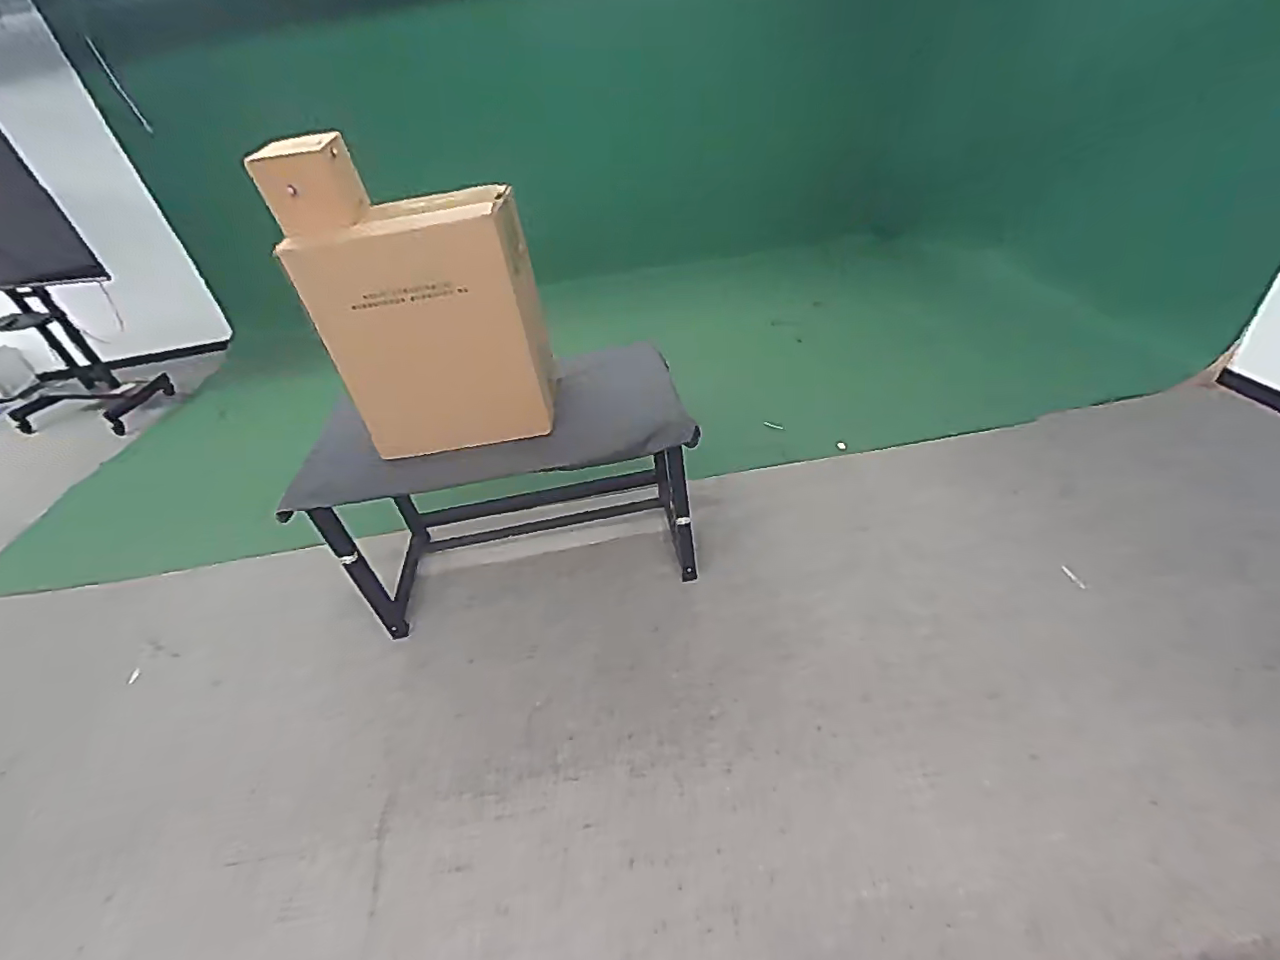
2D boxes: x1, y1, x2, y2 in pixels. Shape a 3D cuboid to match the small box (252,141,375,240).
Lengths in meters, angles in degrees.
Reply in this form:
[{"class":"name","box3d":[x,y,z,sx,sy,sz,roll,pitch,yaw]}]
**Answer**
[{"class":"small box","box3d":[-0.796,-0.713,1.339,0.179,0.176,0.168,-9,45,2]}]
